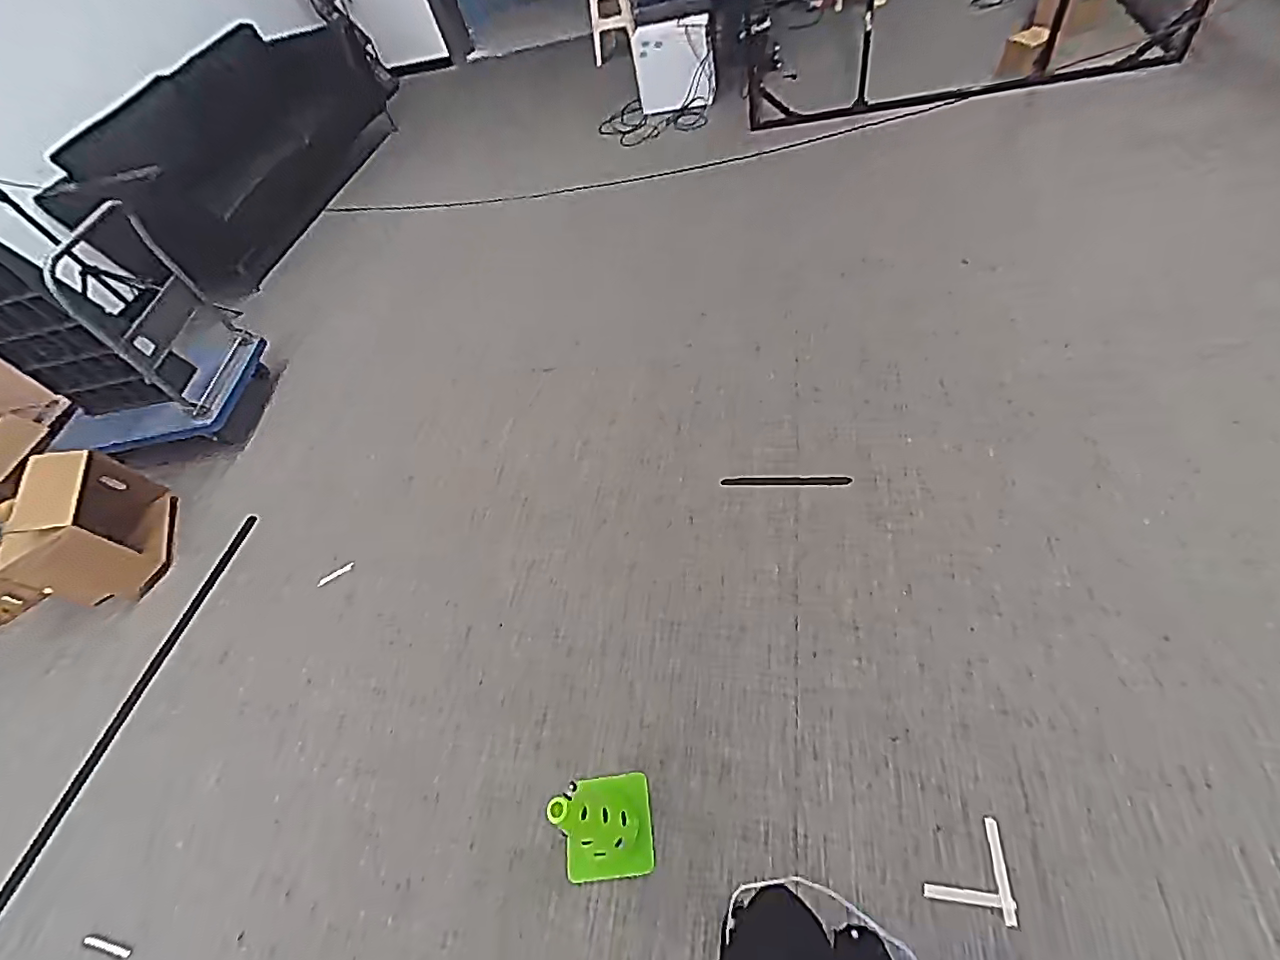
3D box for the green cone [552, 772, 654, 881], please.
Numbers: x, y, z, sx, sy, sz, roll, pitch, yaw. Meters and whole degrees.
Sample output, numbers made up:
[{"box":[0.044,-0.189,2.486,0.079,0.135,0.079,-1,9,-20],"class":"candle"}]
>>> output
[{"box":[-0.108,0.694,1.106,0.202,0.368,0.200,-12,53,6],"class":"green cone"}]
